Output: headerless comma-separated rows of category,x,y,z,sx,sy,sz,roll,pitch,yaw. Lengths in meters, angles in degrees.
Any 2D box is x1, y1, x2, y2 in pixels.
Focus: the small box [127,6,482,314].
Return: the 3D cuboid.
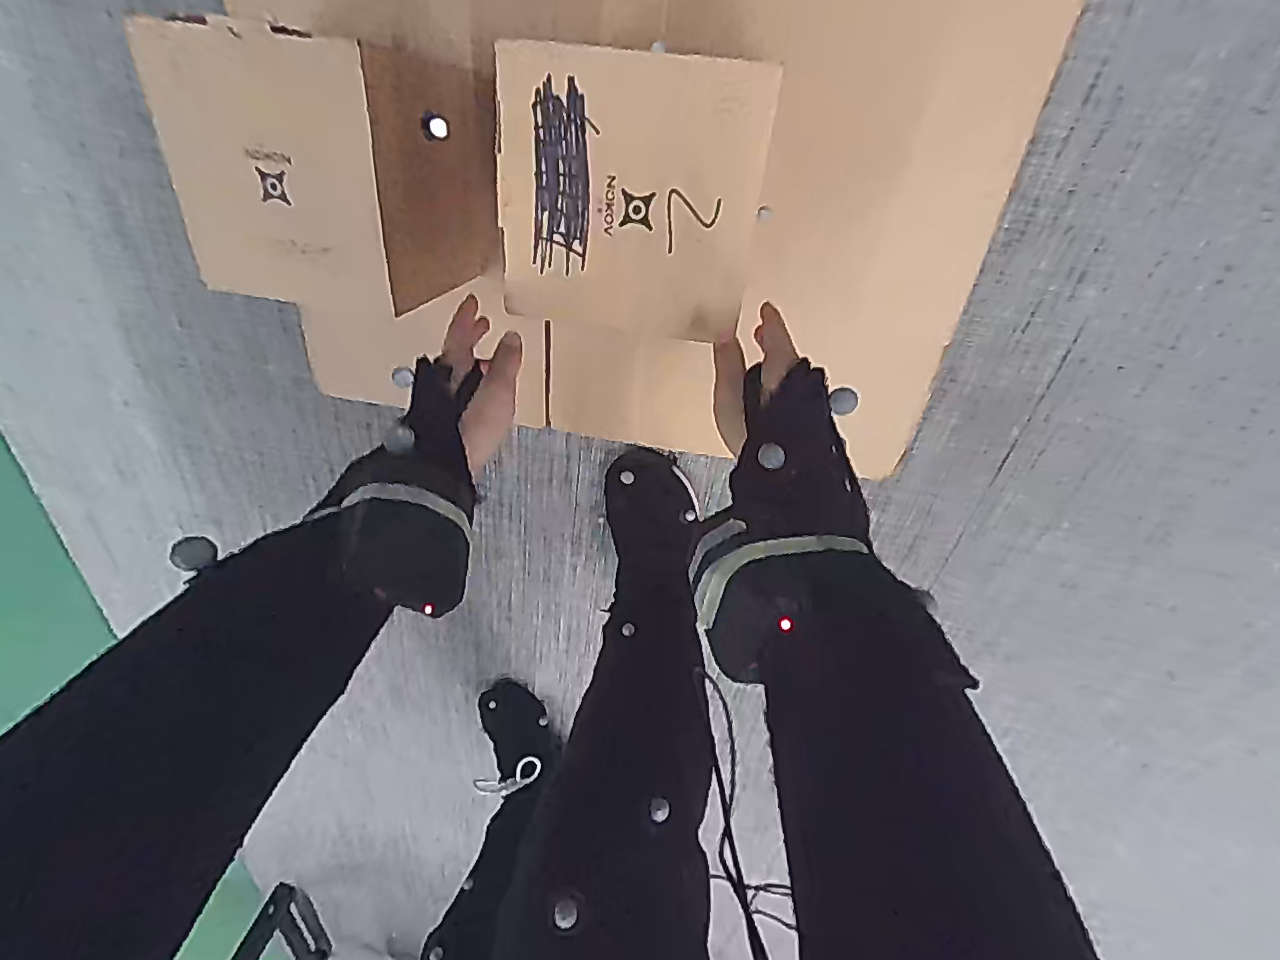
small box,-0.244,-0.258,0.451,0.168,0.176,0.179,10,124,5
